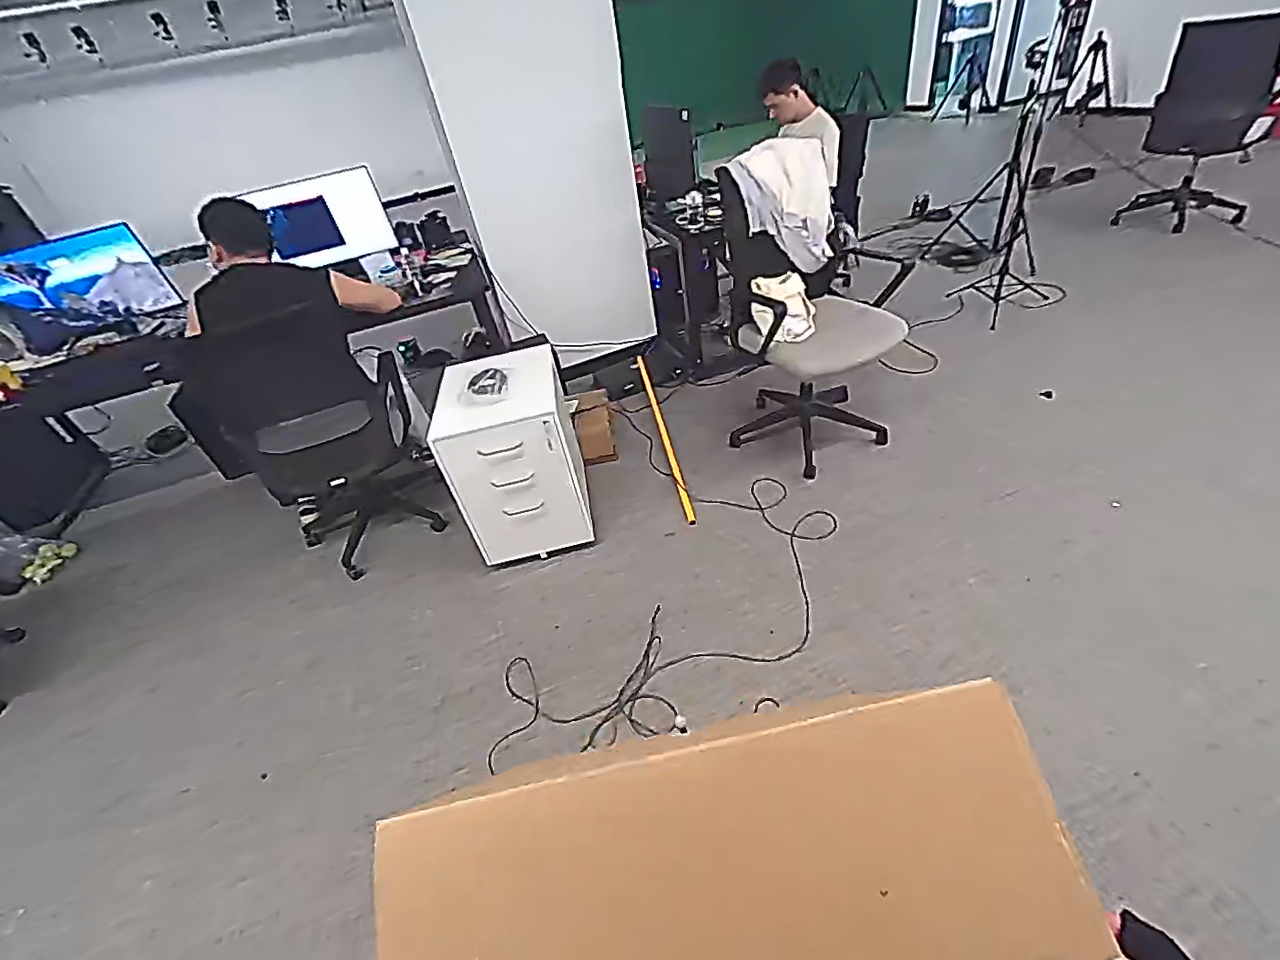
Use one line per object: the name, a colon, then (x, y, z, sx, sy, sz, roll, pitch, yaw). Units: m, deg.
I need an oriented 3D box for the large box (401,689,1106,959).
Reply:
large box: (0.081, 0.376, 0.434, 0.408, 0.320, 0.320, -12, 67, -2)
